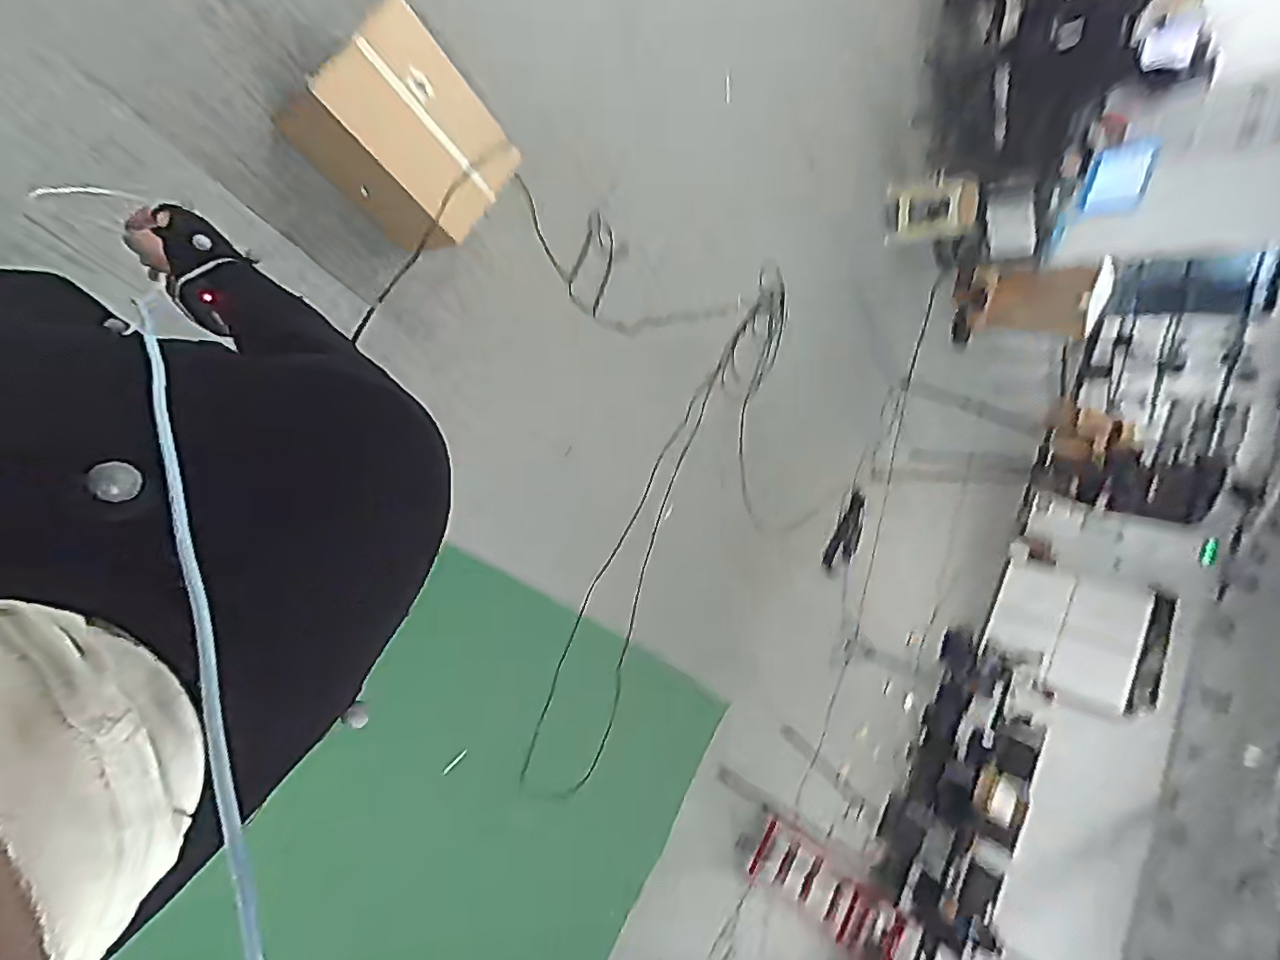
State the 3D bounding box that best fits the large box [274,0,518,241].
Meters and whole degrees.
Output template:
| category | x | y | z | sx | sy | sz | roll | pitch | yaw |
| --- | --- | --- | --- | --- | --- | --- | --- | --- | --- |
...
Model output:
| category | x | y | z | sx | sy | sz | roll | pitch | yaw |
| --- | --- | --- | --- | --- | --- | --- | --- | --- | --- |
| large box | -0.599 | -0.875 | 1.353 | 0.408 | 0.320 | 0.320 | 40 | 72 | -43 |
